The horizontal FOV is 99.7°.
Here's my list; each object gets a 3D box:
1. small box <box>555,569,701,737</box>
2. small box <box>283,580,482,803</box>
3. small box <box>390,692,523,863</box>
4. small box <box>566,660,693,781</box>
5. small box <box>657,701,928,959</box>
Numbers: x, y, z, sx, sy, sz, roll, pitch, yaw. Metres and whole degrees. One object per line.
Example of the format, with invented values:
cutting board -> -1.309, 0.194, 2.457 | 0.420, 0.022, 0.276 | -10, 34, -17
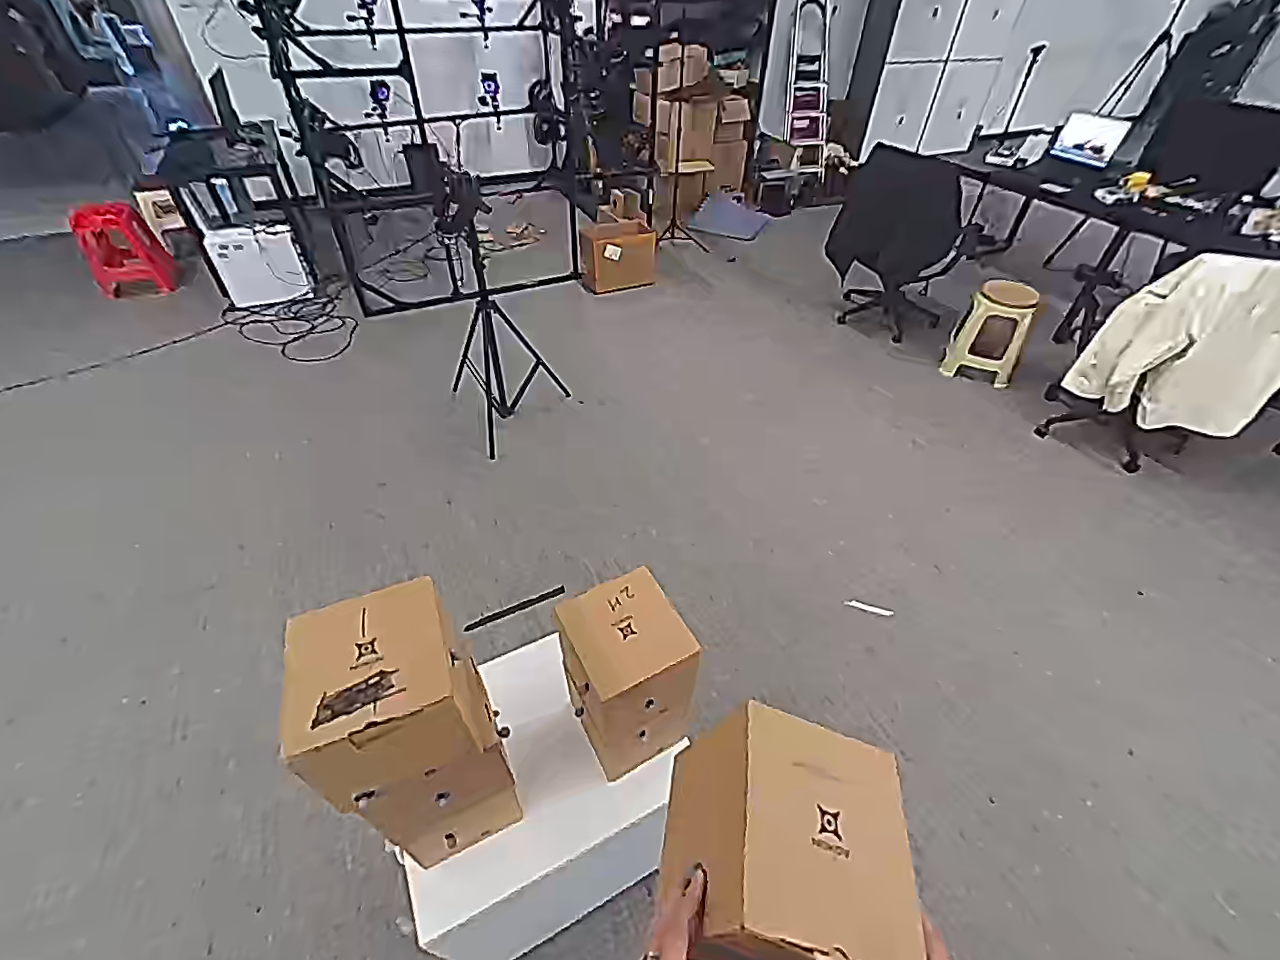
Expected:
small box -> -0.020, 0.282, 0.865 | 0.168, 0.176, 0.179 | -21, 48, -20
small box -> -0.300, 0.258, 0.651 | 0.168, 0.176, 0.179 | -16, 45, -17
small box -> -0.301, 0.490, 0.884 | 0.168, 0.176, 0.179 | -18, 47, -20
small box -> -0.022, 0.401, 0.980 | 0.168, 0.176, 0.179 | -22, 48, -20
small box -> 0.127, 0.345, 0.506 | 0.168, 0.176, 0.179 | 24, 42, -9
